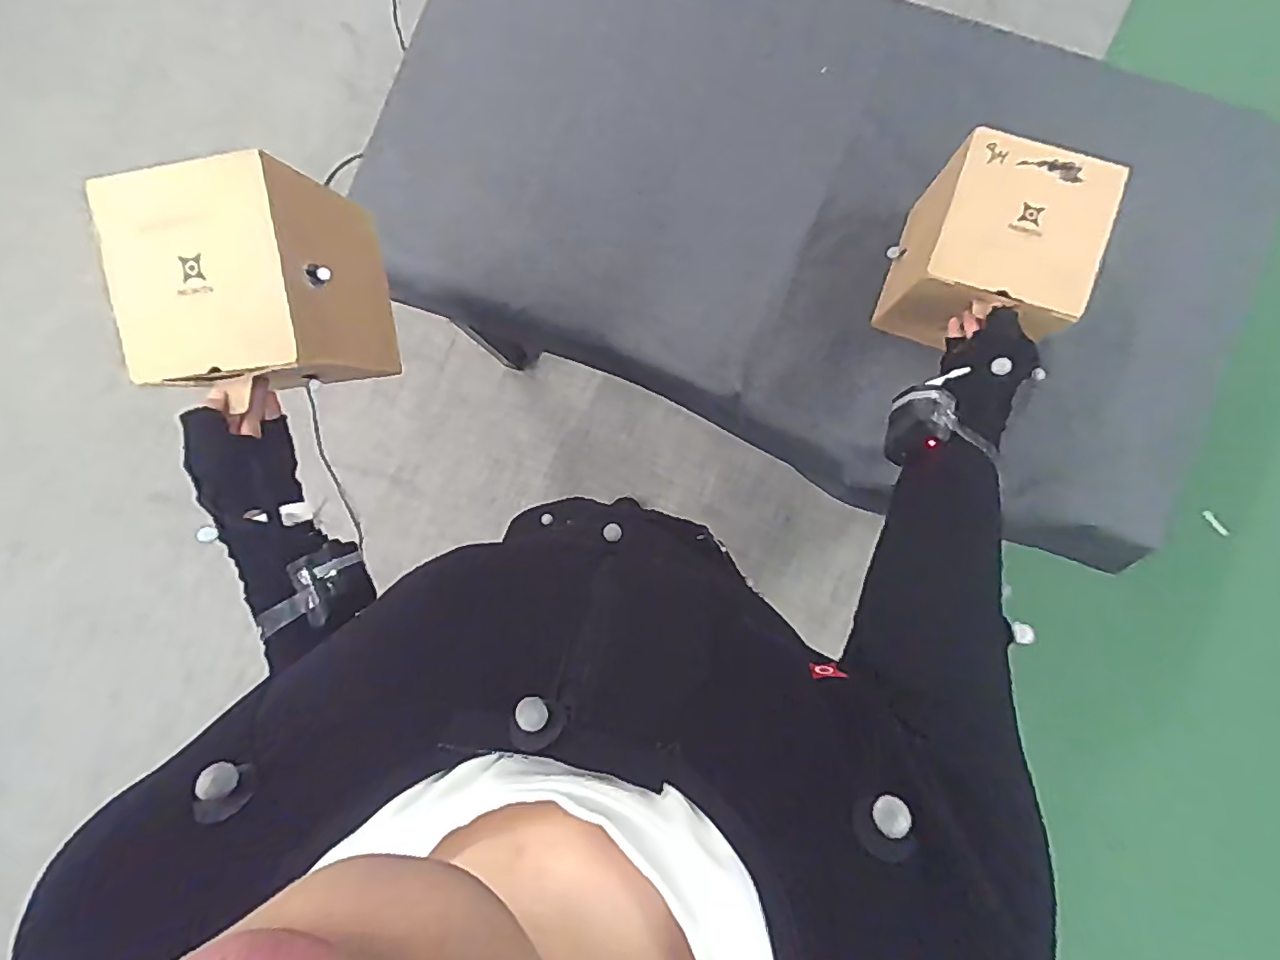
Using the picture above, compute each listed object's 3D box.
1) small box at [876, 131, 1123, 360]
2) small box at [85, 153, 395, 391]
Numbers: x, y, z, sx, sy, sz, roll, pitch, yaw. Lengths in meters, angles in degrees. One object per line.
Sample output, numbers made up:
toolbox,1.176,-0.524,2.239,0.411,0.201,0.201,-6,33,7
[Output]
small box,0.411,-0.265,0.655,0.168,0.176,0.179,20,88,4
small box,-0.368,-0.184,0.534,0.168,0.176,0.179,-6,97,6
